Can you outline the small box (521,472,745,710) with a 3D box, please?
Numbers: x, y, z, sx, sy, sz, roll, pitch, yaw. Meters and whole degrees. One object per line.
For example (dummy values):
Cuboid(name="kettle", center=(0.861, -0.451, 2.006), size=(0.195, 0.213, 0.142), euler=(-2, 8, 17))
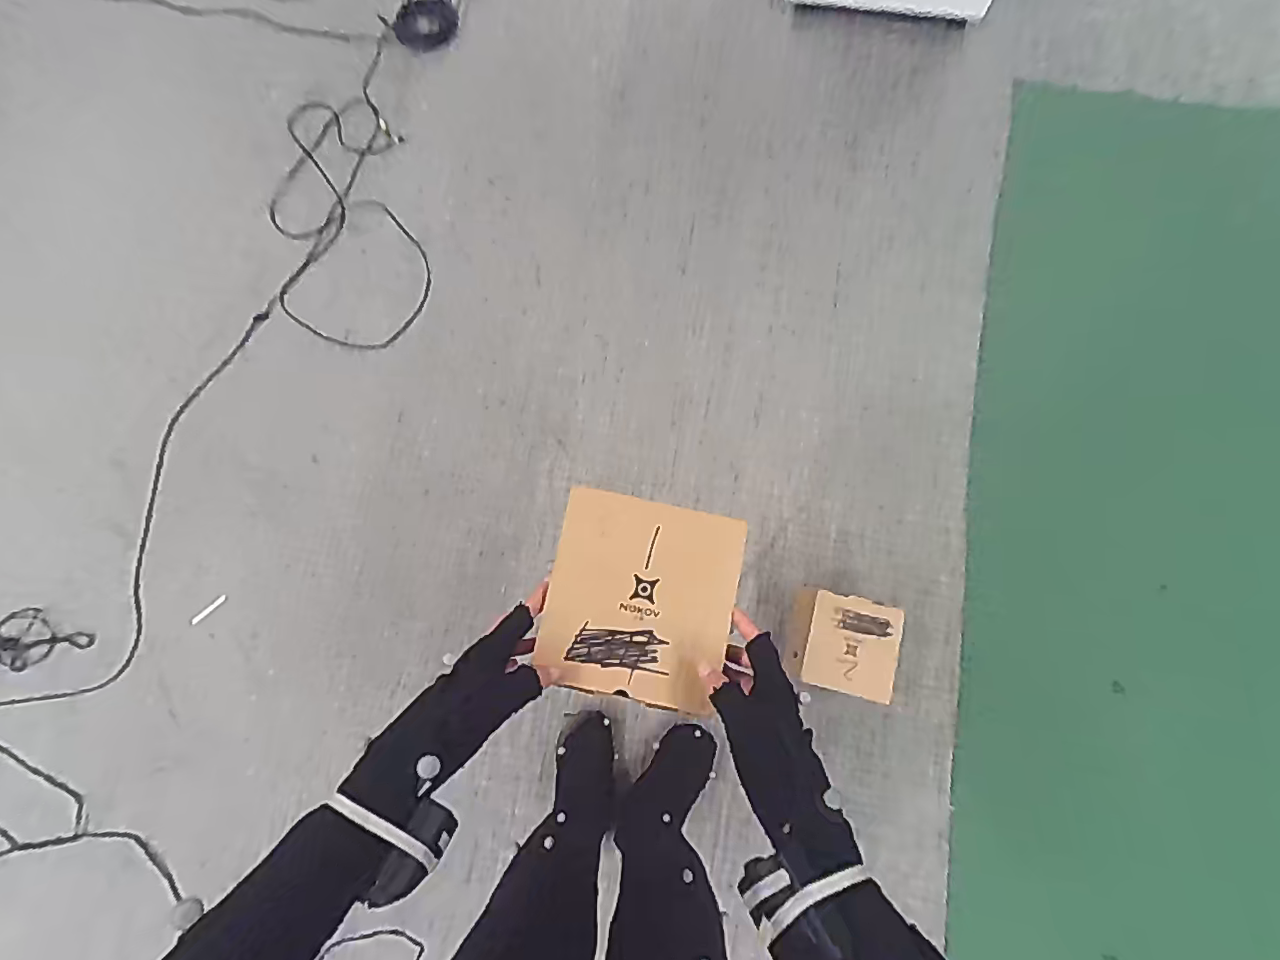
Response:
Cuboid(name="small box", center=(-0.005, 0.103, 0.543), size=(0.168, 0.176, 0.179), euler=(12, 83, 0))
